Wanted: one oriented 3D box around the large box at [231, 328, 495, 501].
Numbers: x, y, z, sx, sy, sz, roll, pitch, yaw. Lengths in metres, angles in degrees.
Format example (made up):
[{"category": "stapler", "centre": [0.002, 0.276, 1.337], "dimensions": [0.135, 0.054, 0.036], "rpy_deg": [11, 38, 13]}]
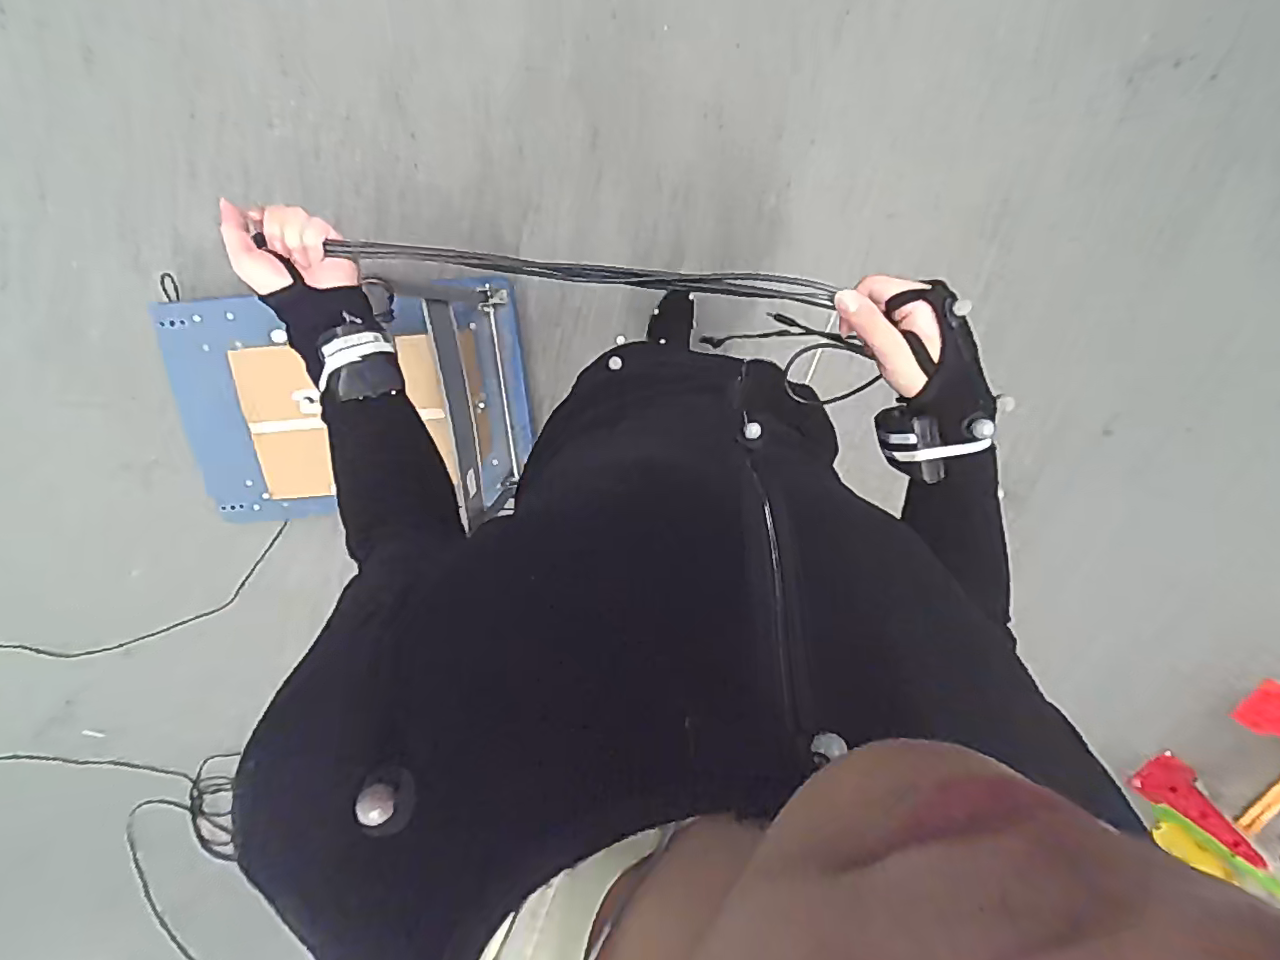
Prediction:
[{"category": "large box", "centre": [-0.585, -0.164, 1.228], "dimensions": [0.408, 0.320, 0.320], "rpy_deg": [-5, 106, 1]}]
